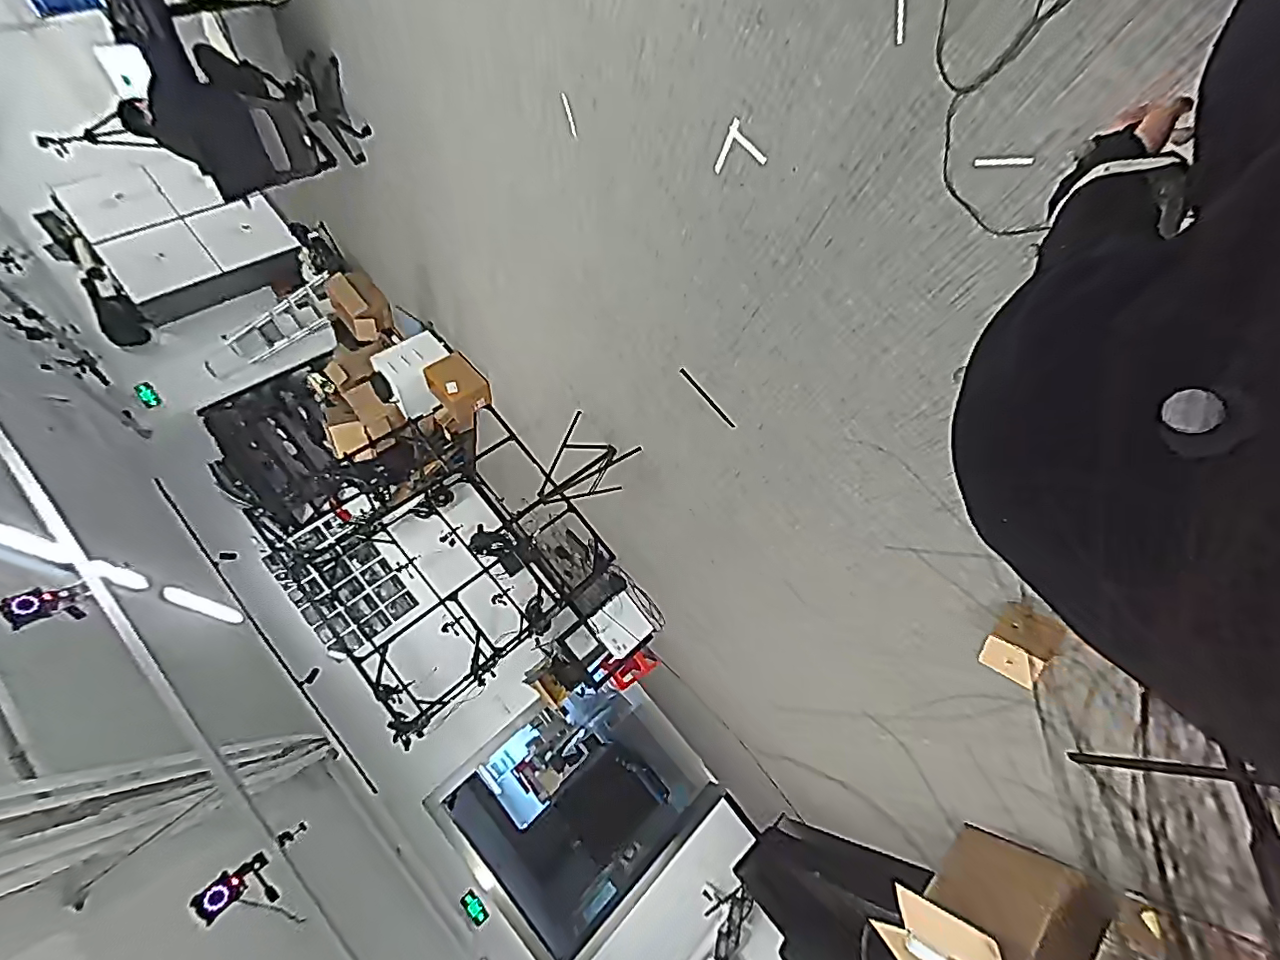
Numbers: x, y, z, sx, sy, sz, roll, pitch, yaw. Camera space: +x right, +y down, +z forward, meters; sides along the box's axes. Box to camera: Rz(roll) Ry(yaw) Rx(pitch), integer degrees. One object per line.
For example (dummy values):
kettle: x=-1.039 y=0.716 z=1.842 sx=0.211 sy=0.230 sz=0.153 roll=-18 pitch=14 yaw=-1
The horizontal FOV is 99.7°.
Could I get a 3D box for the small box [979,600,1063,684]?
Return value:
small box: x=1.286 y=0.542 z=1.824 sx=0.168 sy=0.176 sz=0.179 roll=31 pitch=148 yaw=40
